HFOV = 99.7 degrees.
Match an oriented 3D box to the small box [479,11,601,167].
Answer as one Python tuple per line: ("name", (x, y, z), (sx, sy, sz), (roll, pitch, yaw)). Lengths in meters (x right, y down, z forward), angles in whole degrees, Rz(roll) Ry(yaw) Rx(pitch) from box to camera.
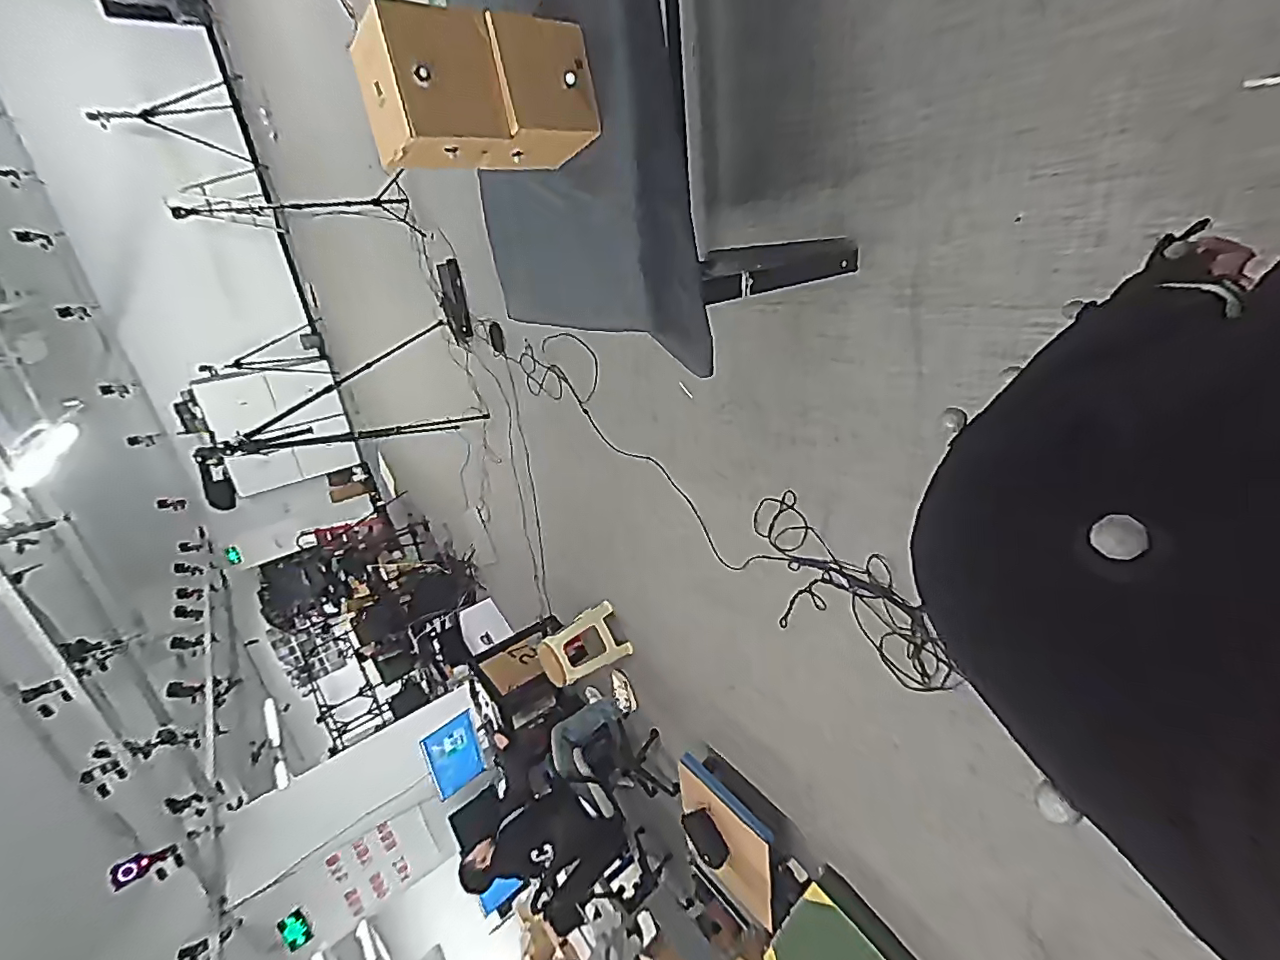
("small box", (-0.194, -0.665, 0.944), (0.179, 0.176, 0.168), (9, 117, 53))

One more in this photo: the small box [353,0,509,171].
("small box", (-0.330, -0.617, 0.868), (0.168, 0.176, 0.179), (13, 119, 50))
